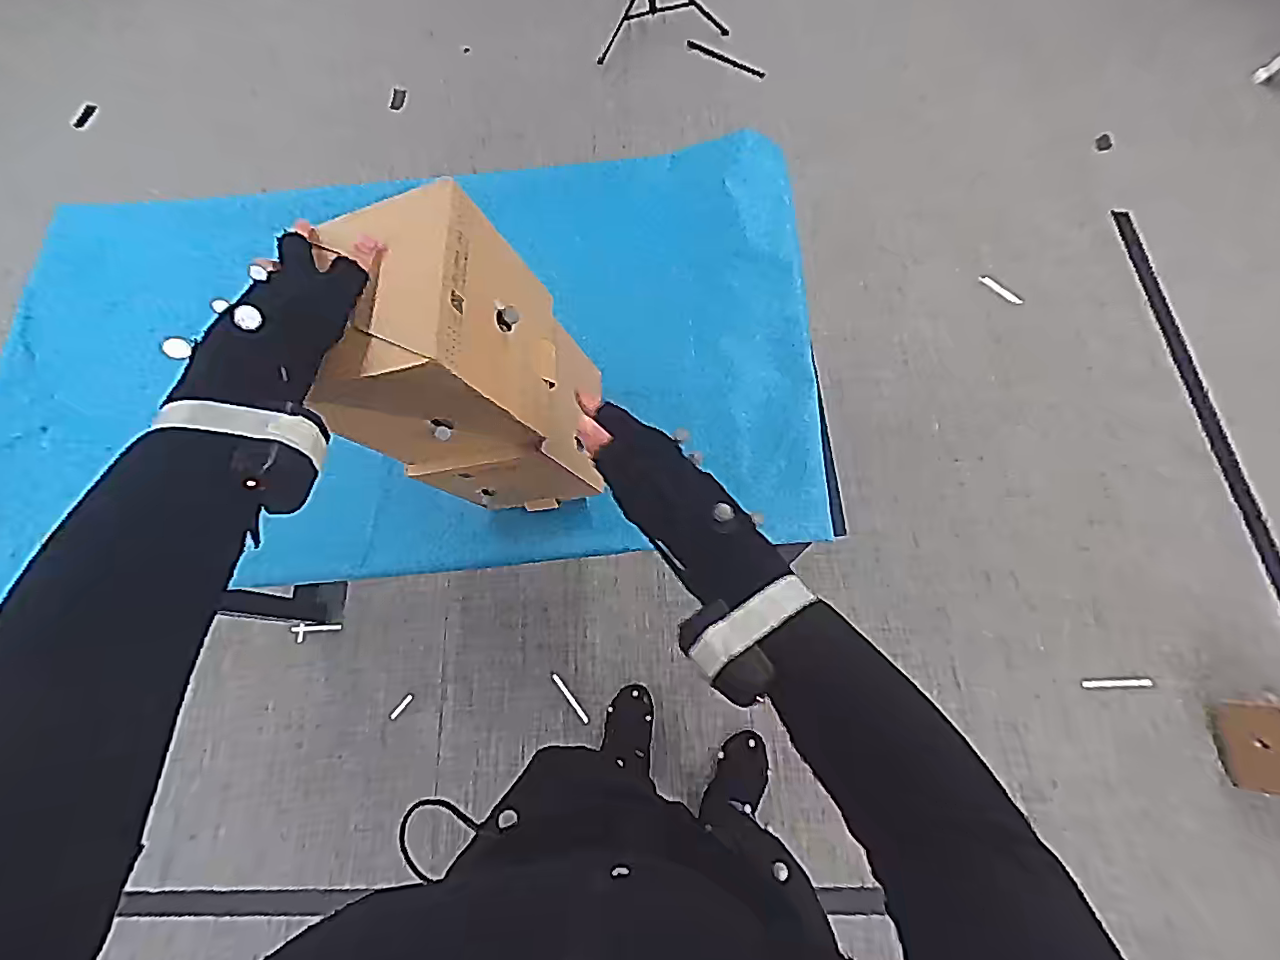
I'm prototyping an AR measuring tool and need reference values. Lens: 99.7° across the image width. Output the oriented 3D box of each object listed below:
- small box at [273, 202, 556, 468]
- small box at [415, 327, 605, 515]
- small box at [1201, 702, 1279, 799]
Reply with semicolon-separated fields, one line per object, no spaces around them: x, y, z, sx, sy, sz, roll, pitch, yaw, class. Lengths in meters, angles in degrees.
-0.197;-0.123;0.508;0.179;0.176;0.168;-8;70;19;small box
-0.151;-0.069;0.656;0.168;0.176;0.179;-9;71;16;small box
1.343;0.561;1.120;0.168;0.176;0.179;-1;70;3;small box
